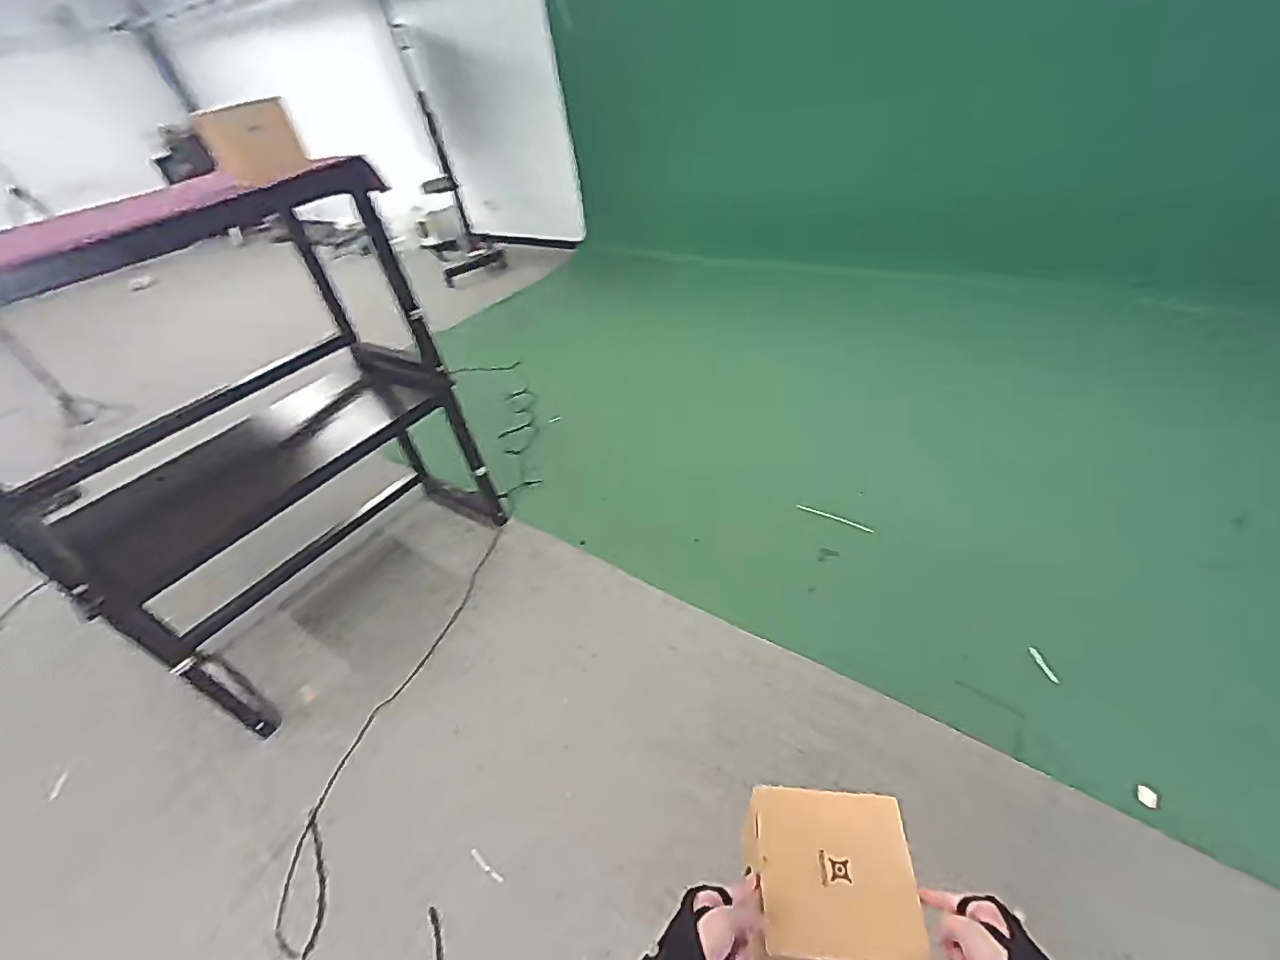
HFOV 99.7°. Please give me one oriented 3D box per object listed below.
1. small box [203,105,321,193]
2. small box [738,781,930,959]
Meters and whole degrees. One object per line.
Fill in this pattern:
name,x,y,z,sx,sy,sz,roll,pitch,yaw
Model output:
small box,-1.007,-0.883,1.449,0.168,0.176,0.179,24,51,33
small box,0.220,0.496,0.668,0.179,0.176,0.168,0,41,5
